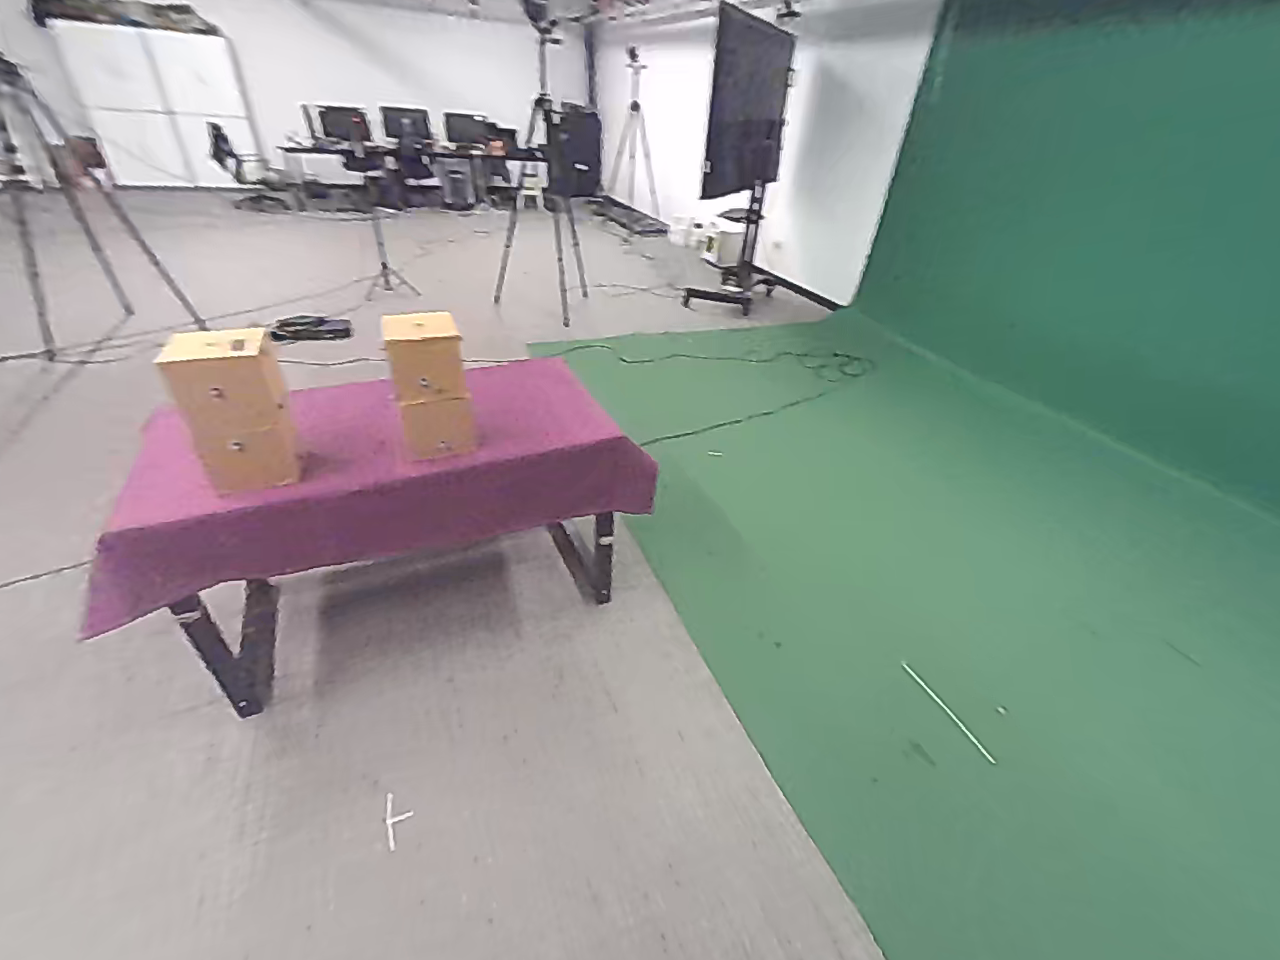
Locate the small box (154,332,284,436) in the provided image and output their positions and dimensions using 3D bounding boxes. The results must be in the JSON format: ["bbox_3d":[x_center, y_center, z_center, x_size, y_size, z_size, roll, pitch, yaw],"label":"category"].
[{"bbox_3d":[-0.919,-0.214,1.202,0.179,0.176,0.168,-11,38,-21],"label":"small box"}]

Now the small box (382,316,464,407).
[{"bbox_3d":[-0.551,-0.302,1.372,0.168,0.176,0.179,-11,39,-21],"label":"small box"}]

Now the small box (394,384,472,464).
[{"bbox_3d":[-0.555,-0.163,1.457,0.179,0.176,0.168,-11,37,-22],"label":"small box"}]

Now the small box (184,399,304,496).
[{"bbox_3d":[-0.934,-0.078,1.292,0.179,0.176,0.168,-10,38,-21],"label":"small box"}]
